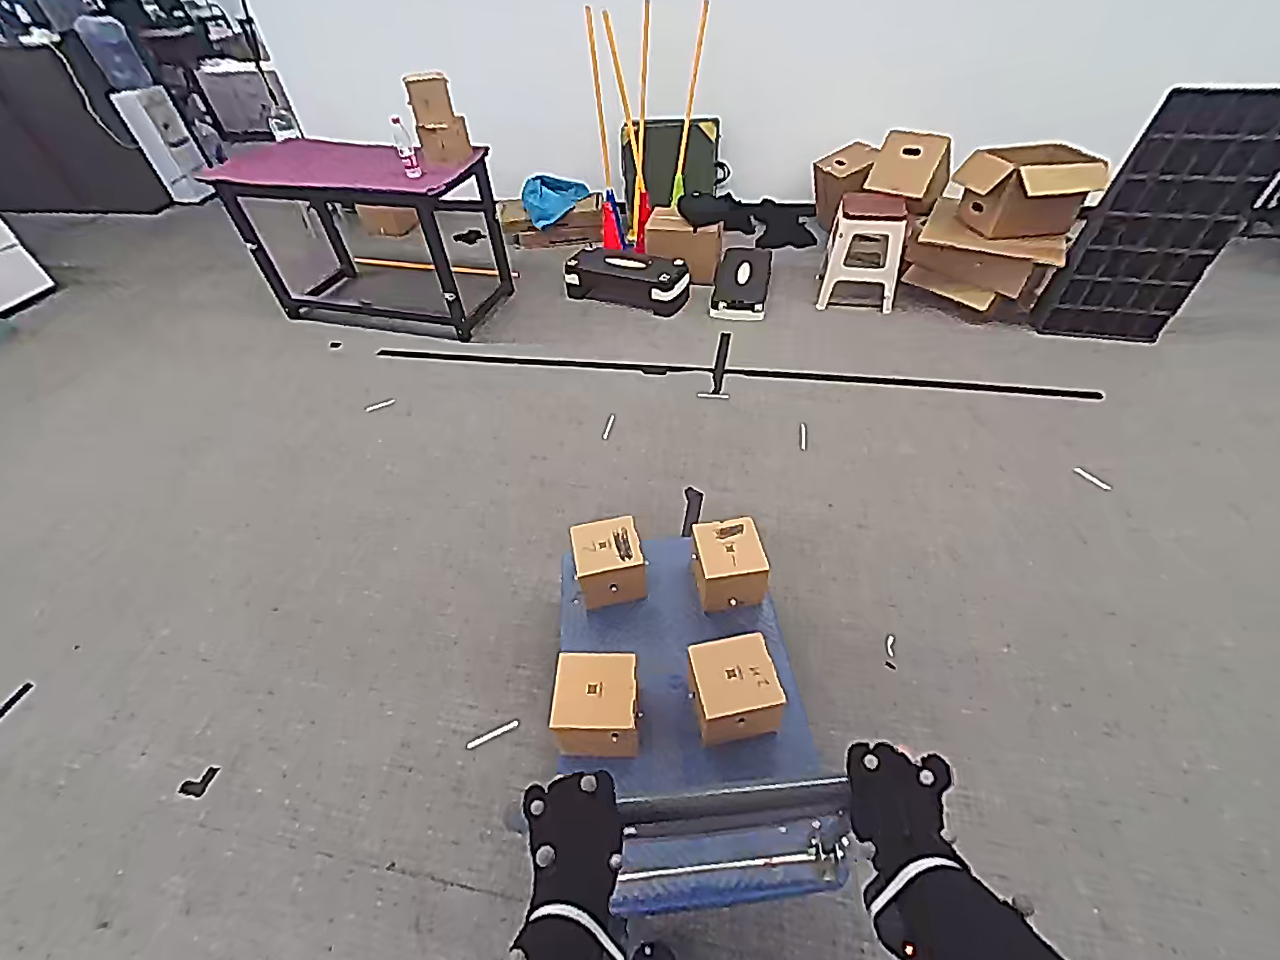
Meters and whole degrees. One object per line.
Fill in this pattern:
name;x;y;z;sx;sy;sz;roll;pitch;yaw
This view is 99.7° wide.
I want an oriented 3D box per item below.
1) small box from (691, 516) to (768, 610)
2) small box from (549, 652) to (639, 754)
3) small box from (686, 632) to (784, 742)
small box;0.232;0.224;1.452;0.168;0.176;0.179;-8;47;-3
small box;-0.095;0.502;1.213;0.179;0.176;0.168;0;46;2
small box;0.207;0.469;1.219;0.179;0.176;0.168;-10;47;-5
